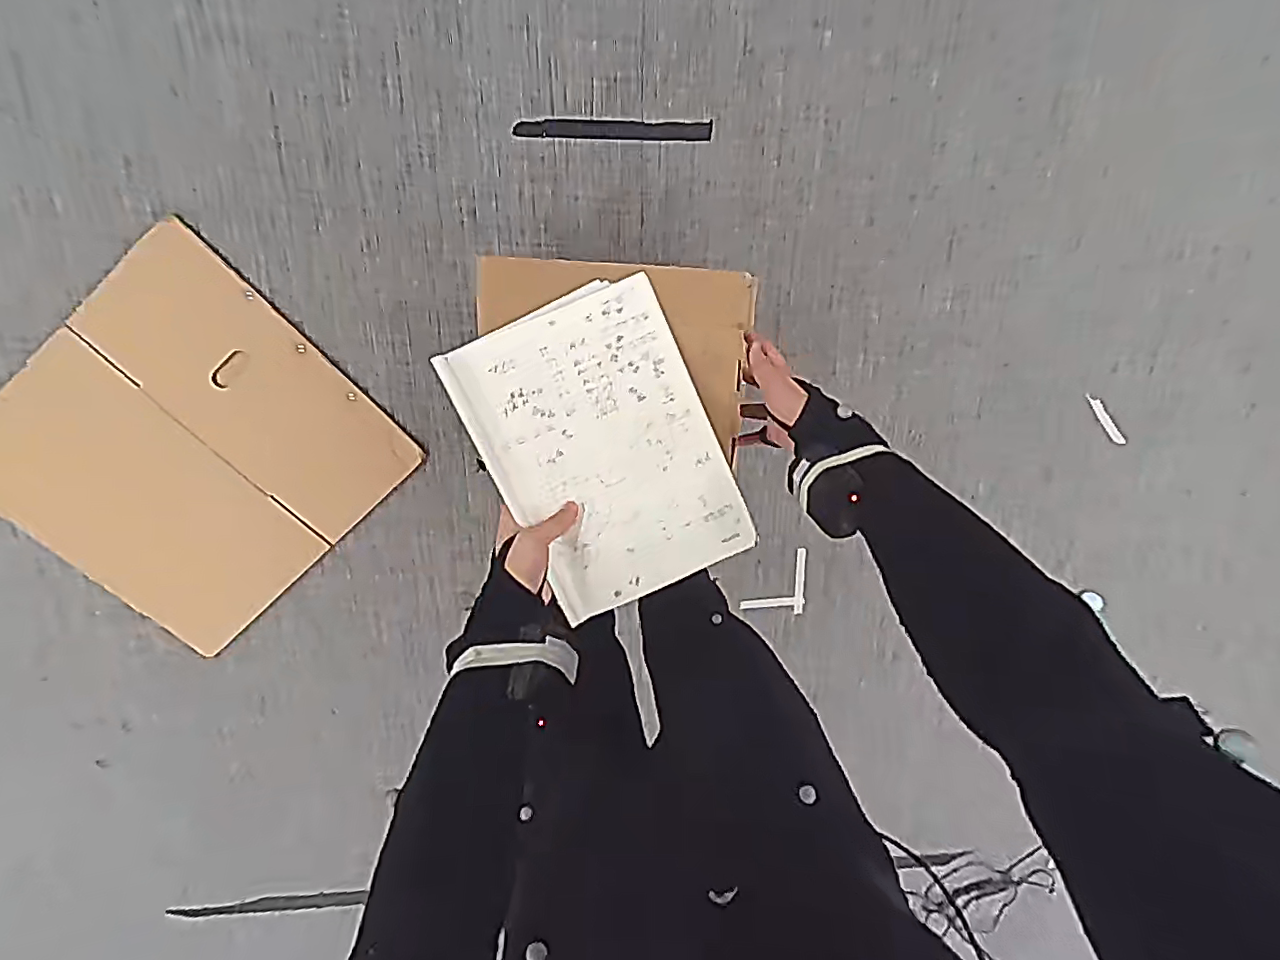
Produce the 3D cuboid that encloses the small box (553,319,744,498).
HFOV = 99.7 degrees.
[{"bbox_3d":[-0.002,-0.082,0.581,0.179,0.176,0.168,0,104,-6],"label":"small box"}]
